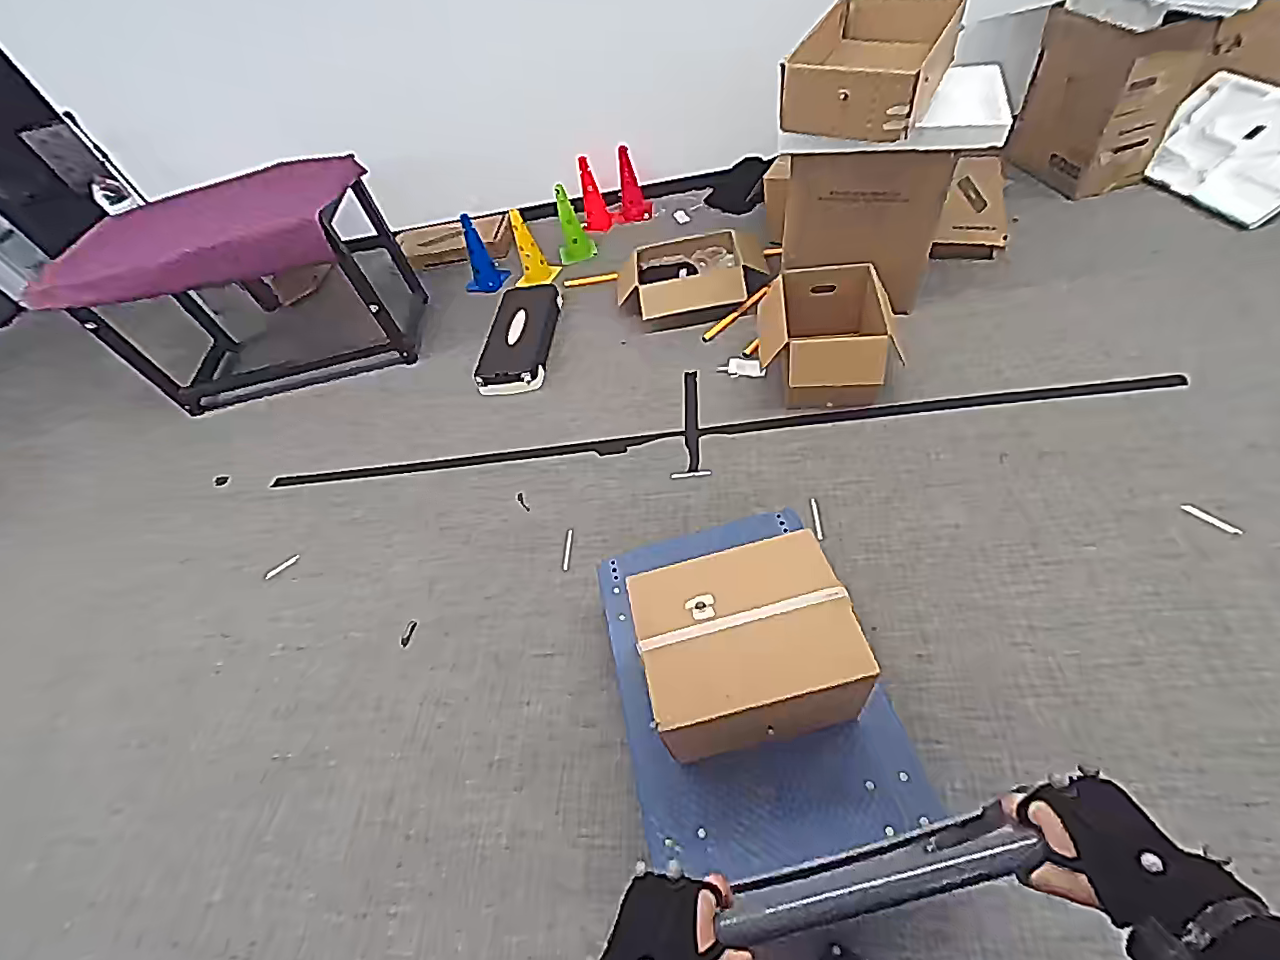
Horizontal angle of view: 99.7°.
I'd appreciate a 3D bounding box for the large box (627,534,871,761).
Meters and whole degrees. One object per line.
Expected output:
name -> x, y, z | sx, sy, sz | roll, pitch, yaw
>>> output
large box -> 0.223, 0.370, 1.171 | 0.408, 0.320, 0.320 | -16, 51, 1
